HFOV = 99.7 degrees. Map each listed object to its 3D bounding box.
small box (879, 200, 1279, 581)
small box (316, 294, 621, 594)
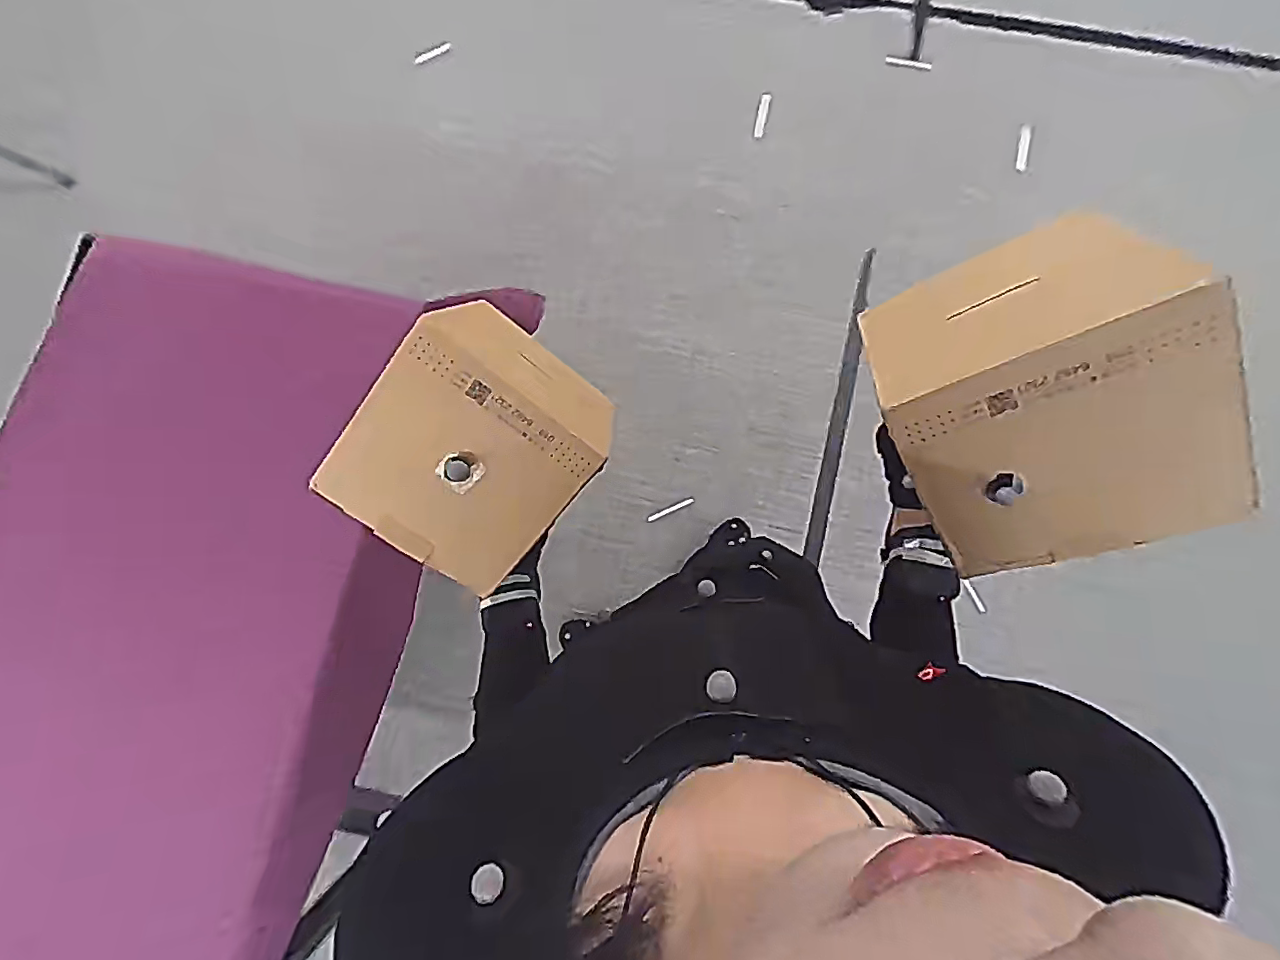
[{"bbox_3d":[0.285,-0.063,0.381,0.168,0.179,0.176,-21,119,29],"label":"small box"},{"bbox_3d":[-0.129,-0.042,0.473,0.168,0.179,0.176,38,106,-14],"label":"small box"}]
